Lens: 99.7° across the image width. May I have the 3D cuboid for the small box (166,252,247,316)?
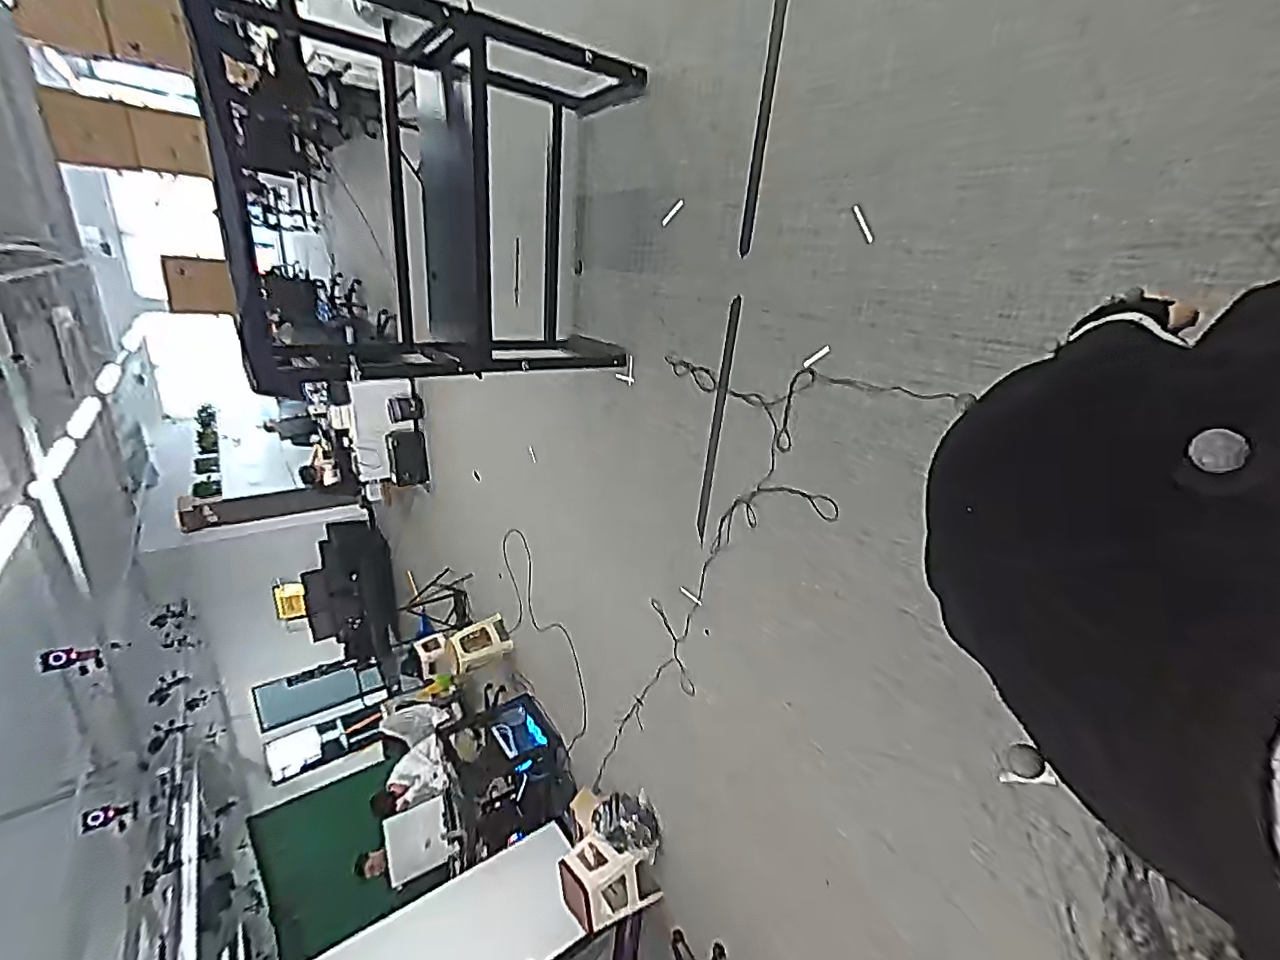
[{"bbox_3d":[-1.348,-0.608,1.688,0.168,0.176,0.179,26,120,51],"label":"small box"}]

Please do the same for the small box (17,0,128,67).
[{"bbox_3d":[-1.429,-1.178,1.360,0.168,0.176,0.179,34,127,49],"label":"small box"}]

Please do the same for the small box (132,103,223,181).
[{"bbox_3d":[-1.329,-0.972,1.565,0.179,0.176,0.168,35,127,47],"label":"small box"}]

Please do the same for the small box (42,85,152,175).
[{"bbox_3d":[-1.458,-0.942,1.468,0.168,0.176,0.179,36,129,47],"label":"small box"}]
